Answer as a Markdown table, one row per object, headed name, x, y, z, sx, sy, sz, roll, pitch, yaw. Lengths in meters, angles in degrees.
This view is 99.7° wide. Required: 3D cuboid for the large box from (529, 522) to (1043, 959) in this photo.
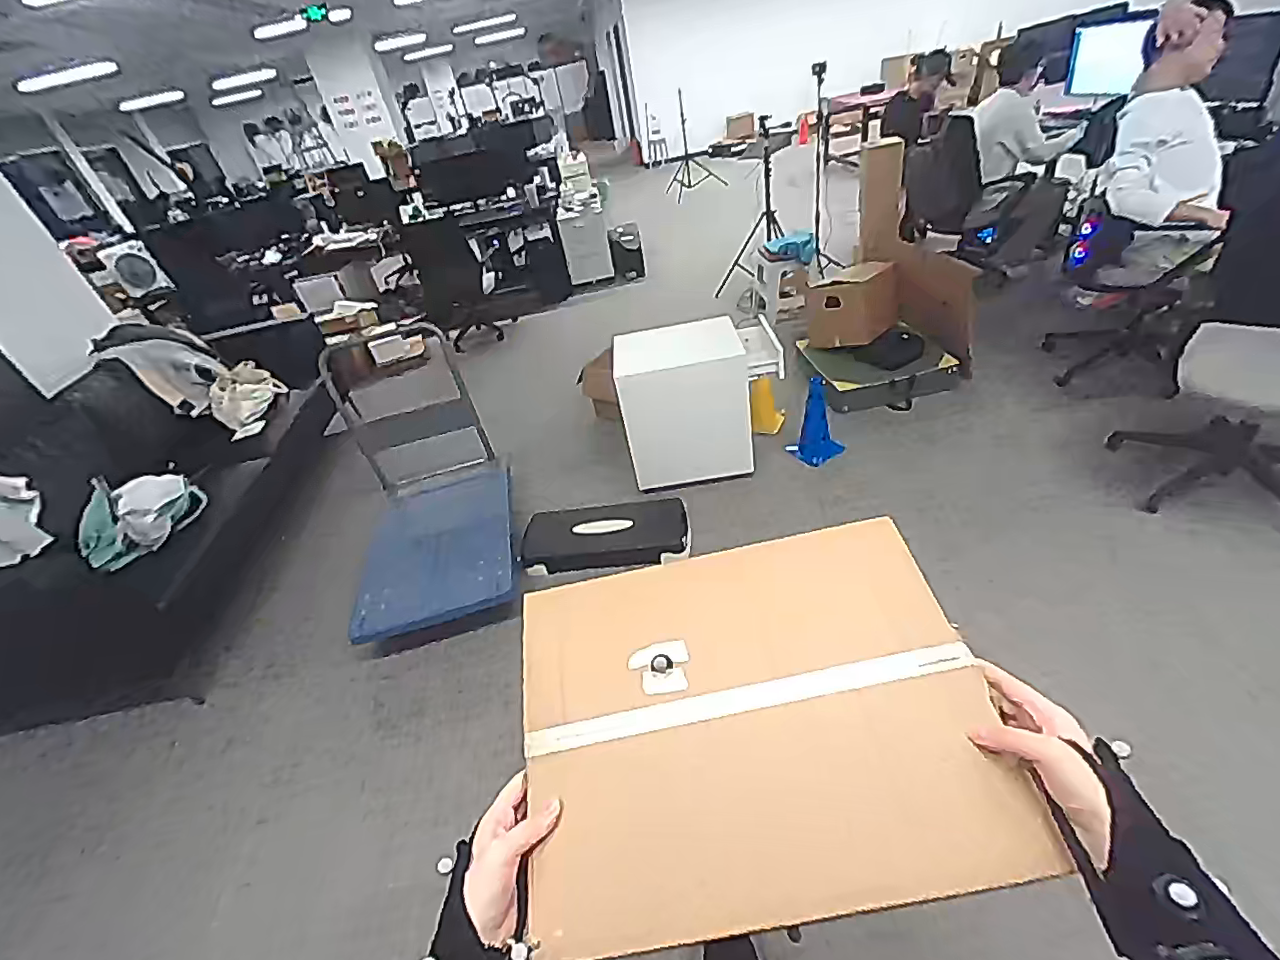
| name | x | y | z | sx | sy | sz | roll | pitch | yaw |
| --- | --- | --- | --- | --- | --- | --- | --- | --- | --- |
| large box | 0.121 | 0.297 | 0.622 | 0.408 | 0.320 | 0.320 | -14 | 51 | 4 |
